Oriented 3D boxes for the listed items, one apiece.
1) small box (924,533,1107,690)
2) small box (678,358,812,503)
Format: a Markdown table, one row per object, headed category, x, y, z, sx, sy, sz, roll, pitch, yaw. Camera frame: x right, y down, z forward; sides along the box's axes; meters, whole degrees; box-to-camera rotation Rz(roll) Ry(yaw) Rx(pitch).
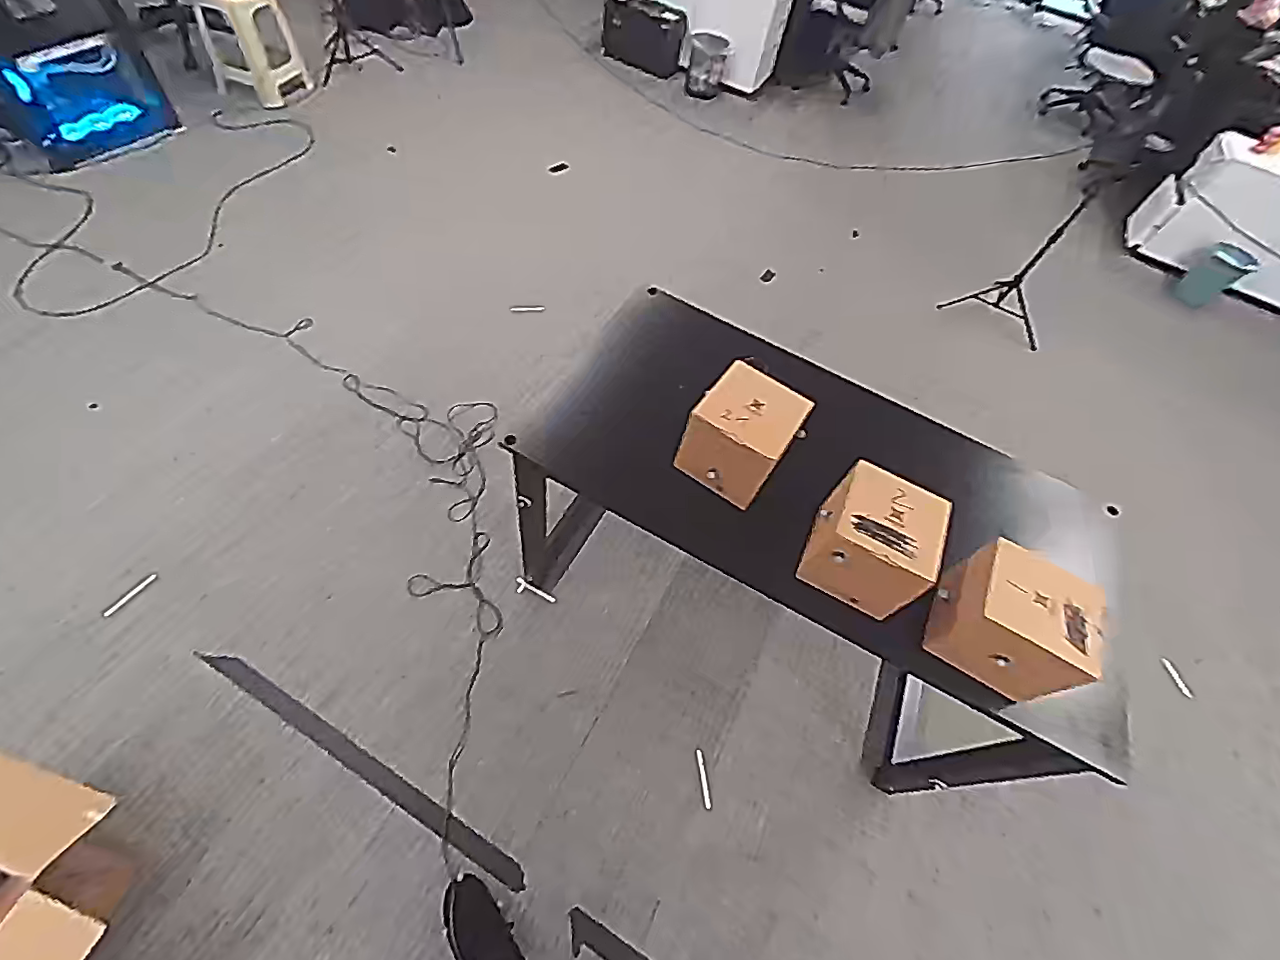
| category | x | y | z | sx | sy | sz | roll | pitch | yaw |
| --- | --- | --- | --- | --- | --- | --- | --- | --- | --- |
| small box | 0.613 | 0.224 | 0.894 | 0.179 | 0.176 | 0.168 | 29 | 57 | 11 |
| small box | 0.191 | -0.091 | 1.027 | 0.168 | 0.176 | 0.179 | 33 | 58 | 12 |
